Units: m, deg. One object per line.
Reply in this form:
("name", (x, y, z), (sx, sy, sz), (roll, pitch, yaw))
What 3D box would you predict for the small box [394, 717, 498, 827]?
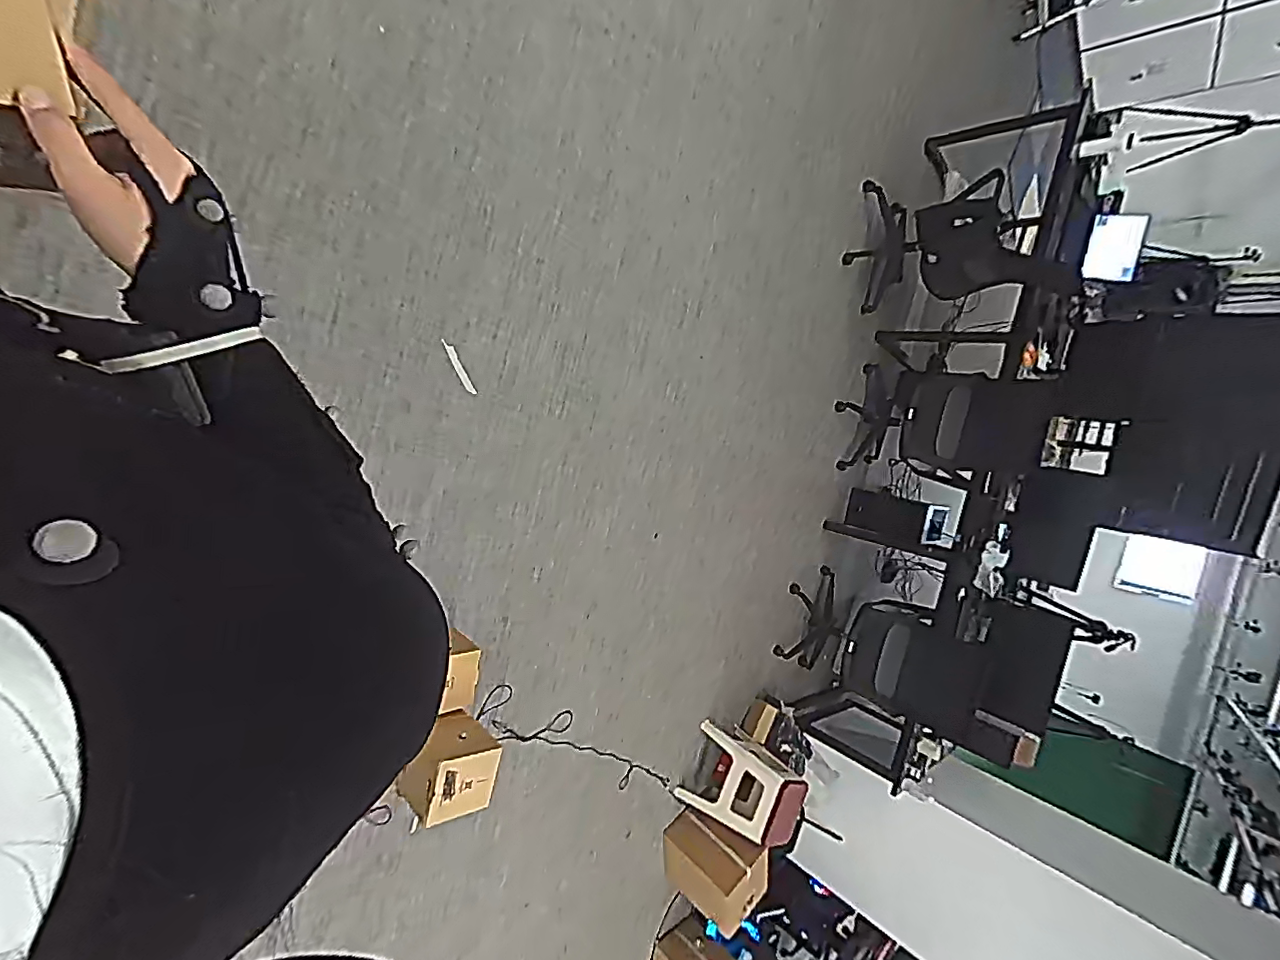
("small box", (-0.496, 0.730, 1.374), (0.179, 0.176, 0.168), (13, 92, -48))
